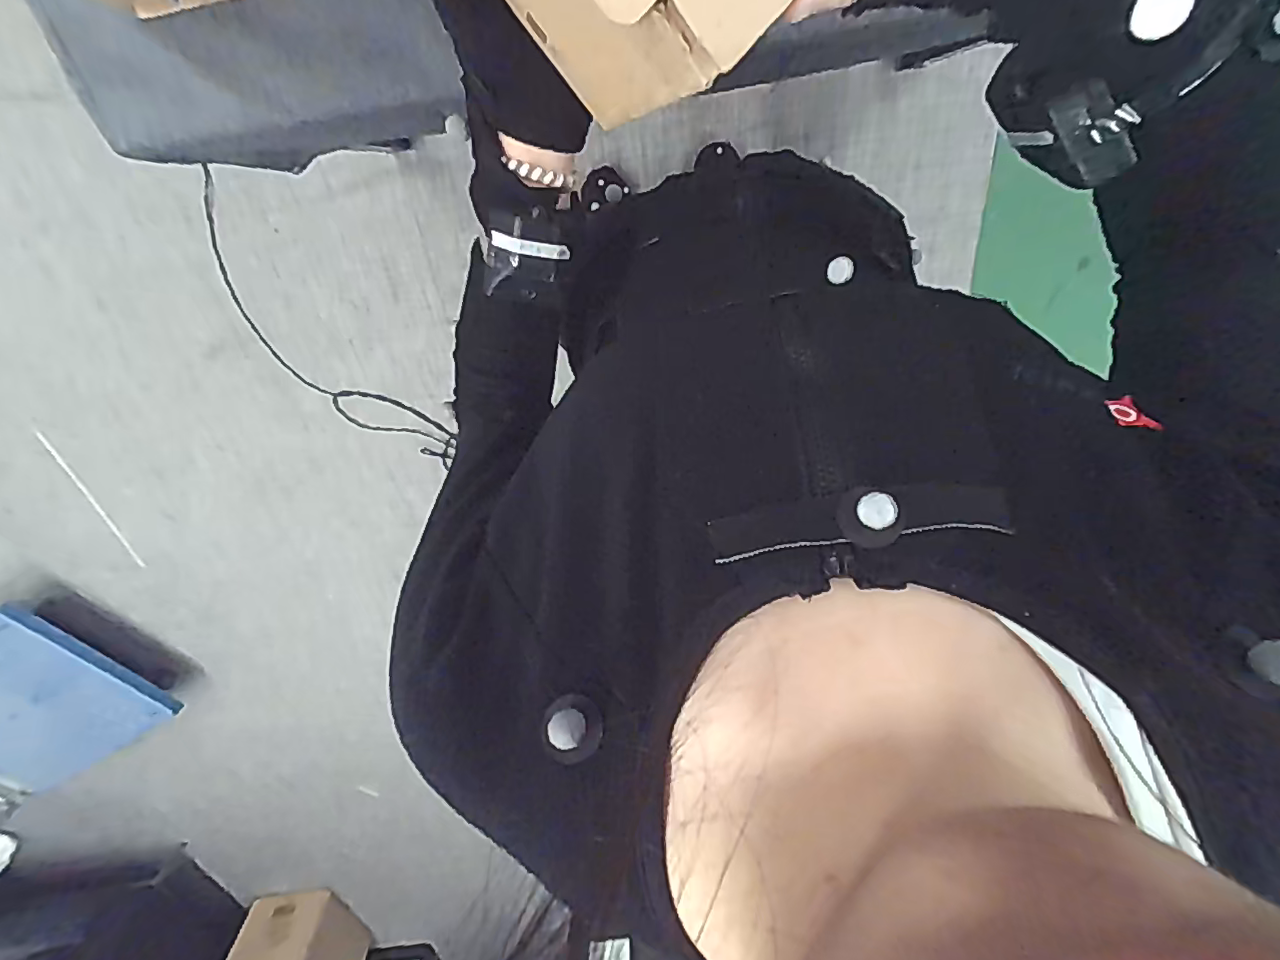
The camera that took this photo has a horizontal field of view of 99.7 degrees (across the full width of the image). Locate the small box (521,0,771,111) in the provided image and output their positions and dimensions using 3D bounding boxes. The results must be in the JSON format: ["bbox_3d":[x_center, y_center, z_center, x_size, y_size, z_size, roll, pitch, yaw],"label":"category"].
[{"bbox_3d":[0.009,-0.282,0.206,0.179,0.176,0.168,-44,121,8],"label":"small box"}]
